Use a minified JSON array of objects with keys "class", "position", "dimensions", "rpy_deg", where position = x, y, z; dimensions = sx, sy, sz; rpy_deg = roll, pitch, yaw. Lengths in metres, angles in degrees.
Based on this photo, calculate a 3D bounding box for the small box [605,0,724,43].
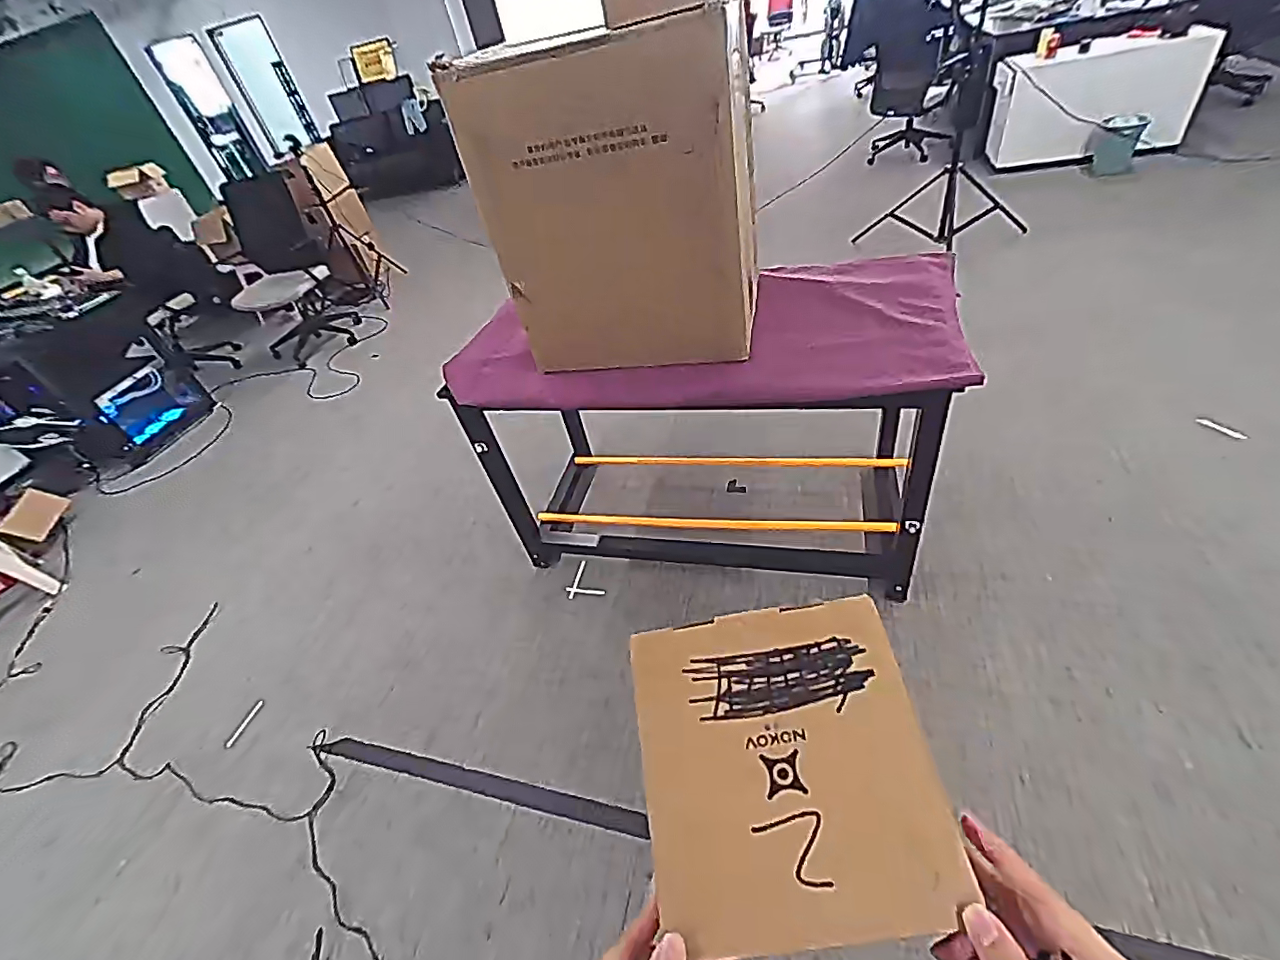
[{"class":"small box","position":[0.032,-0.827,0.855],"dimensions":[0.168,0.176,0.179],"rpy_deg":[2,45,19]}]
